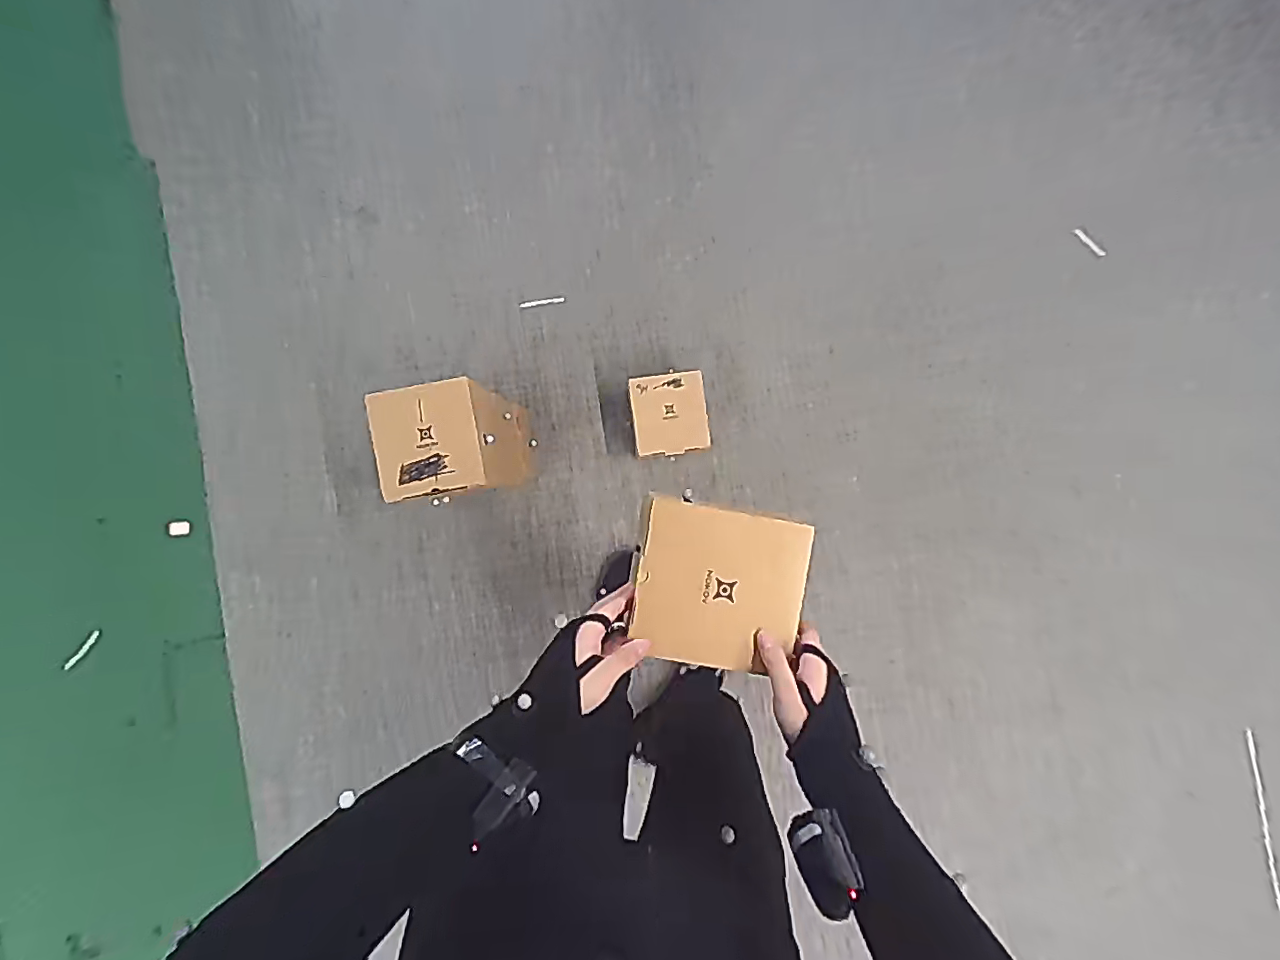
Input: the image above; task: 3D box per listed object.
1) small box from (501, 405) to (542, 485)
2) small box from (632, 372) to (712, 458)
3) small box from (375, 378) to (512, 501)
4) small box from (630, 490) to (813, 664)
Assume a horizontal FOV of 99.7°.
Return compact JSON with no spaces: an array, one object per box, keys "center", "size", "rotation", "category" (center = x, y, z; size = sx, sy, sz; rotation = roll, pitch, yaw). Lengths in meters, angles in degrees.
[{"center":[-0.339,-0.071,1.274],"size":[0.179,0.176,0.168],"rotation":[-9,90,-2],"category":"small box"},{"center":[0.071,-0.146,1.284],"size":[0.168,0.176,0.179],"rotation":[-8,90,-2],"category":"small box"},{"center":[-0.331,-0.065,0.945],"size":[0.168,0.176,0.179],"rotation":[-11,88,-1],"category":"small box"},{"center":[0.086,0.105,0.657],"size":[0.179,0.176,0.168],"rotation":[9,89,0],"category":"small box"}]
